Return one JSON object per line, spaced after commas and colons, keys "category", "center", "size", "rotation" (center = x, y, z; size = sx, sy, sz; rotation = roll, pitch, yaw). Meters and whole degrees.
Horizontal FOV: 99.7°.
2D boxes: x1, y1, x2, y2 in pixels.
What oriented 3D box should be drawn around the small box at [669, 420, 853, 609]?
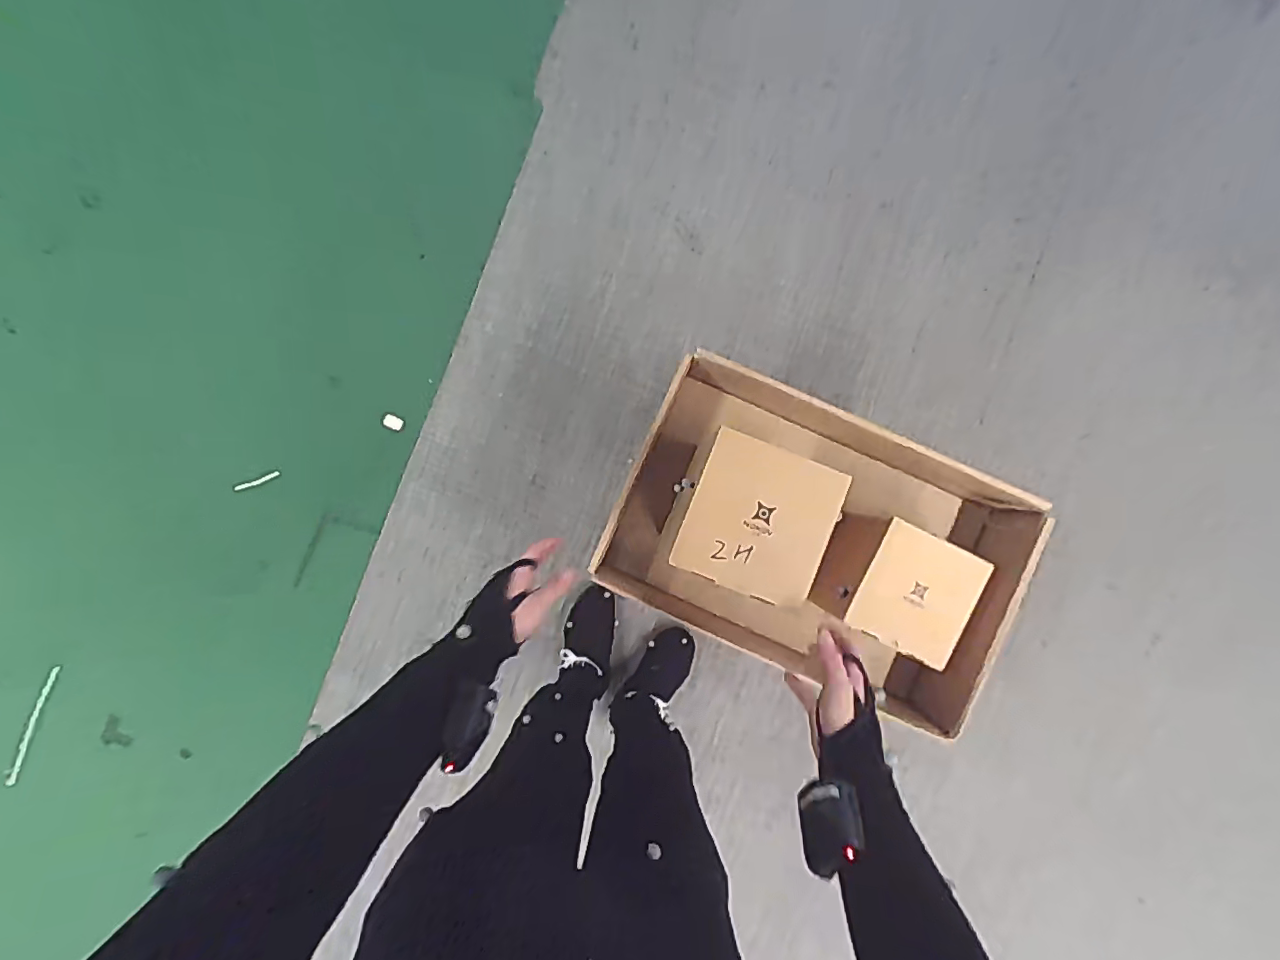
{"category": "small box", "center": [0.141, 0.042, 0.704], "size": [0.168, 0.176, 0.179], "rotation": [22, 89, 2]}
